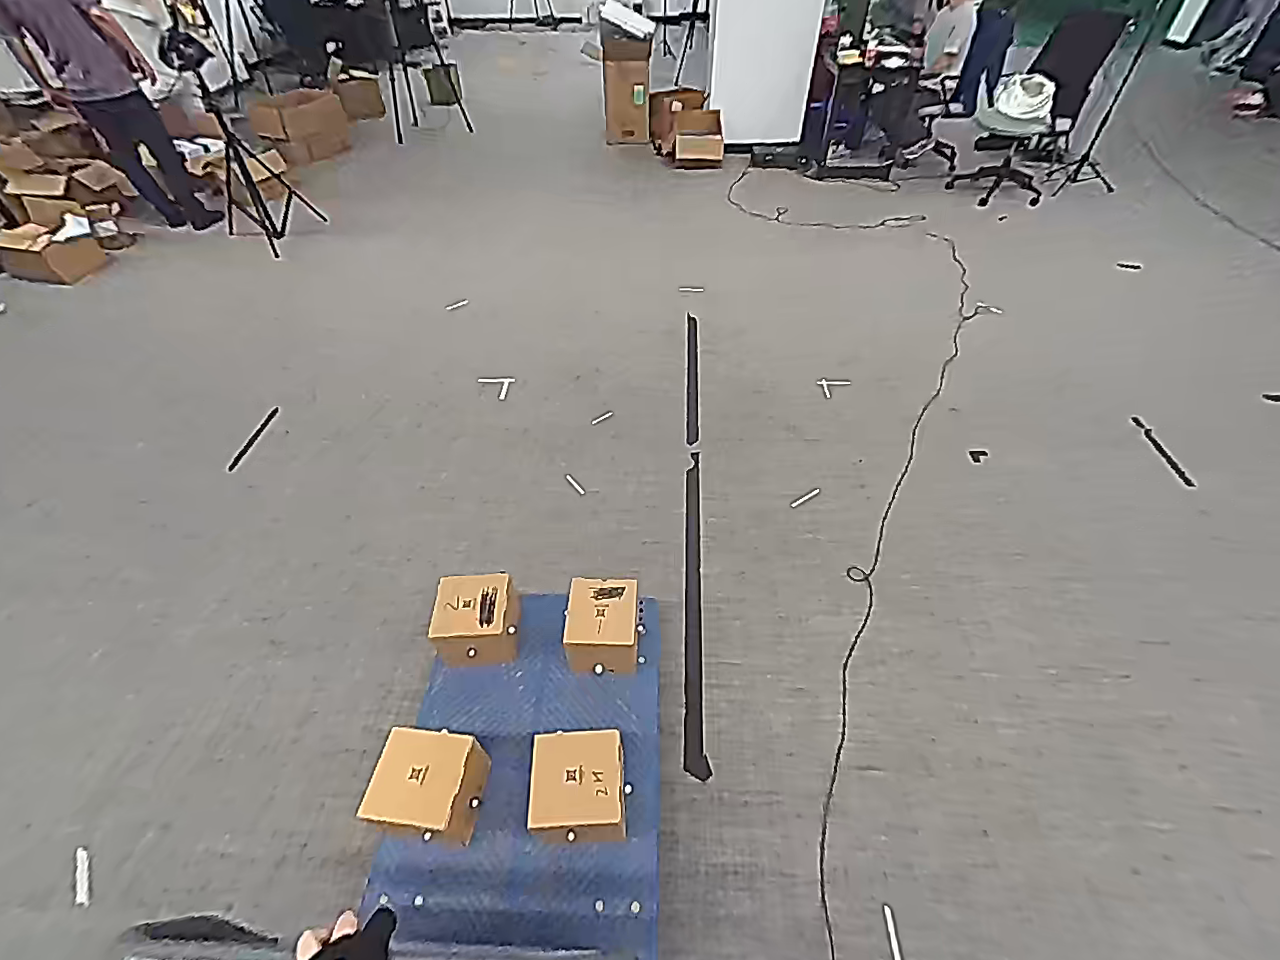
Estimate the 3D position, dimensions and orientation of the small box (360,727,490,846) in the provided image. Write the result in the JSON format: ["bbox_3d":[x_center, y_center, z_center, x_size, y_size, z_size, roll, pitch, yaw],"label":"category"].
[{"bbox_3d":[-0.428,0.630,1.109,0.179,0.176,0.168,6,46,4],"label":"small box"}]

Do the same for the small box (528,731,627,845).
[{"bbox_3d":[-0.119,0.629,1.100,0.179,0.176,0.168,-3,47,-1],"label":"small box"}]

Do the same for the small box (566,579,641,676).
[{"bbox_3d":[-0.083,0.367,1.346,0.168,0.176,0.179,1,48,3],"label":"small box"}]
